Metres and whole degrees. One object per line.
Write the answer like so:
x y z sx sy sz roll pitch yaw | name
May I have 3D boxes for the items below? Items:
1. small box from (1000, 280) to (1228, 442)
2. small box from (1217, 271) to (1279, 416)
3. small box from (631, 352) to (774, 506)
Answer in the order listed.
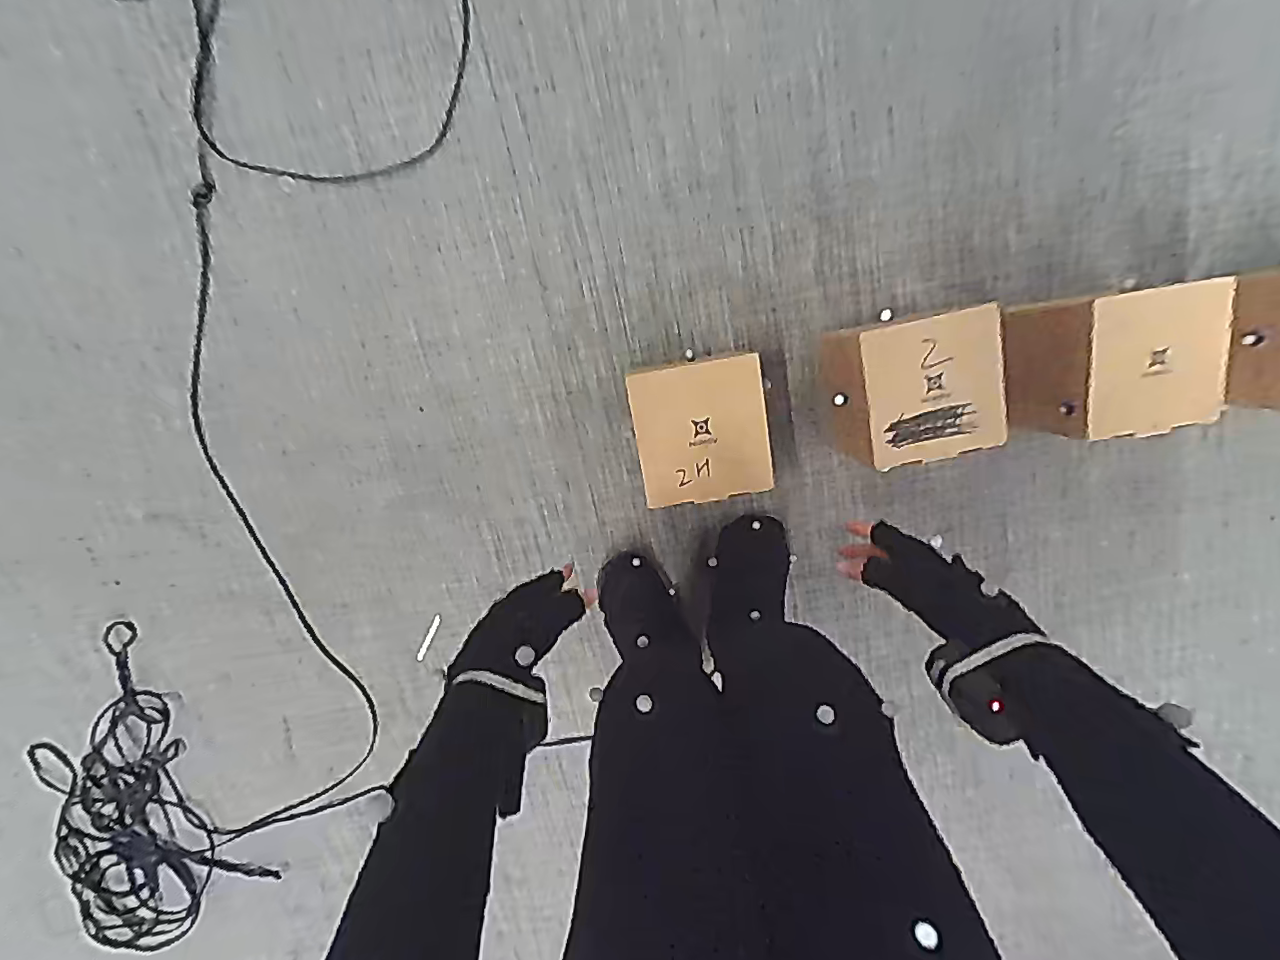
0.622 -0.160 0.735 0.168 0.176 0.179 -9 104 2 | small box
0.889 -0.191 0.726 0.168 0.176 0.179 -9 103 2 | small box
0.080 -0.079 0.754 0.168 0.176 0.179 -9 104 3 | small box
